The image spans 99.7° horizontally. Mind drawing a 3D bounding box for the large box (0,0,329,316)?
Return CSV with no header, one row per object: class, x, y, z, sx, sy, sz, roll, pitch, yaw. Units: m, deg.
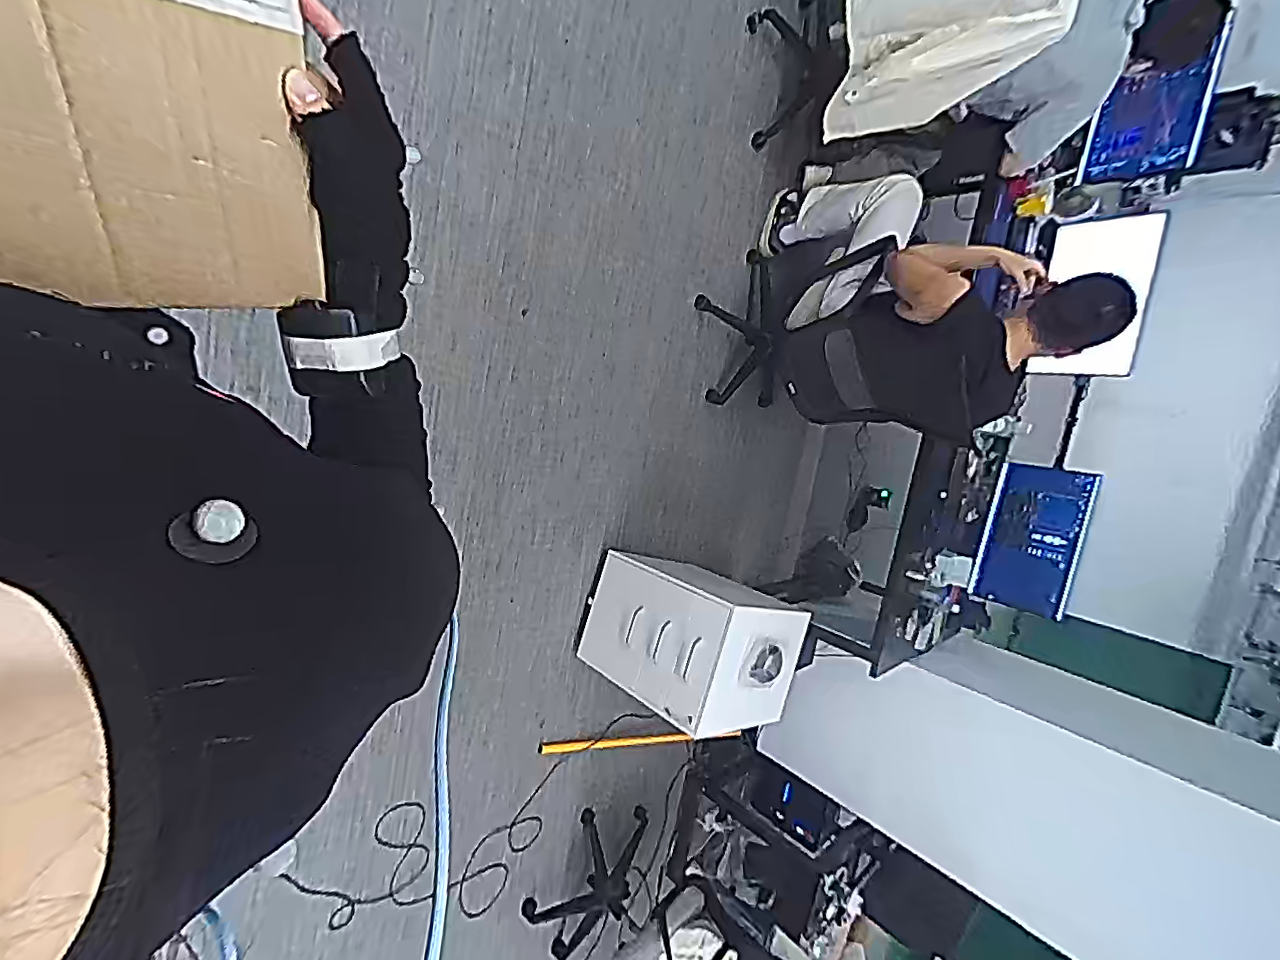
large box,-0.434,-0.281,0.271,0.408,0.320,0.320,-14,131,-38
